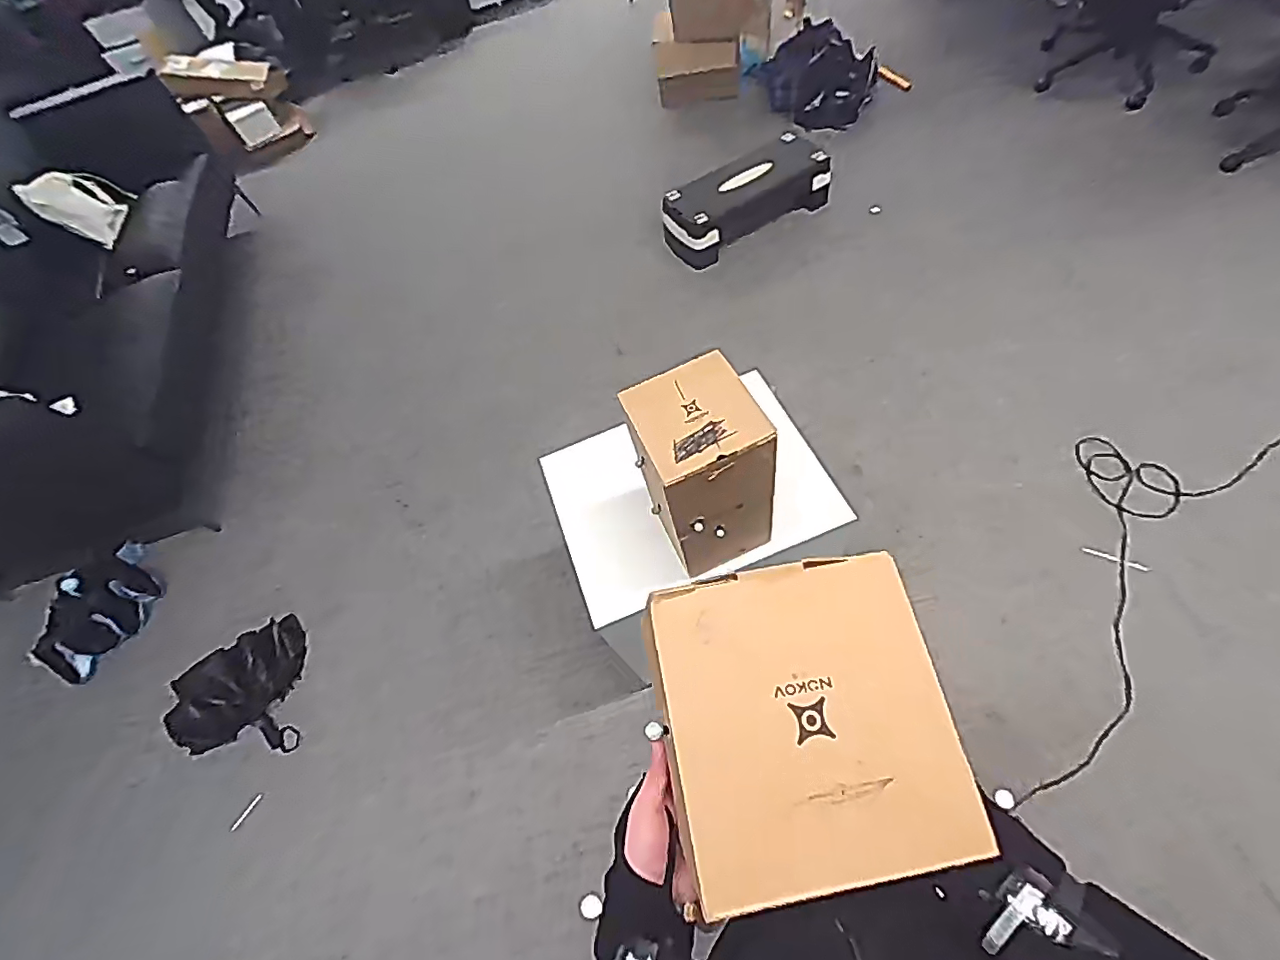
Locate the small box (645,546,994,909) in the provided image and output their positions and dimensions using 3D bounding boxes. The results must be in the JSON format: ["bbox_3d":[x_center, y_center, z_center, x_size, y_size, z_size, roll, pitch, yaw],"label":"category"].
[{"bbox_3d":[0.098,0.166,0.395,0.168,0.176,0.179,-10,68,-5],"label":"small box"}]

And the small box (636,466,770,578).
[{"bbox_3d":[0.110,0.043,0.944,0.168,0.176,0.179,-26,56,-4],"label":"small box"}]

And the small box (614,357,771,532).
[{"bbox_3d":[0.082,-0.042,0.806,0.168,0.176,0.179,-25,56,-4],"label":"small box"}]
